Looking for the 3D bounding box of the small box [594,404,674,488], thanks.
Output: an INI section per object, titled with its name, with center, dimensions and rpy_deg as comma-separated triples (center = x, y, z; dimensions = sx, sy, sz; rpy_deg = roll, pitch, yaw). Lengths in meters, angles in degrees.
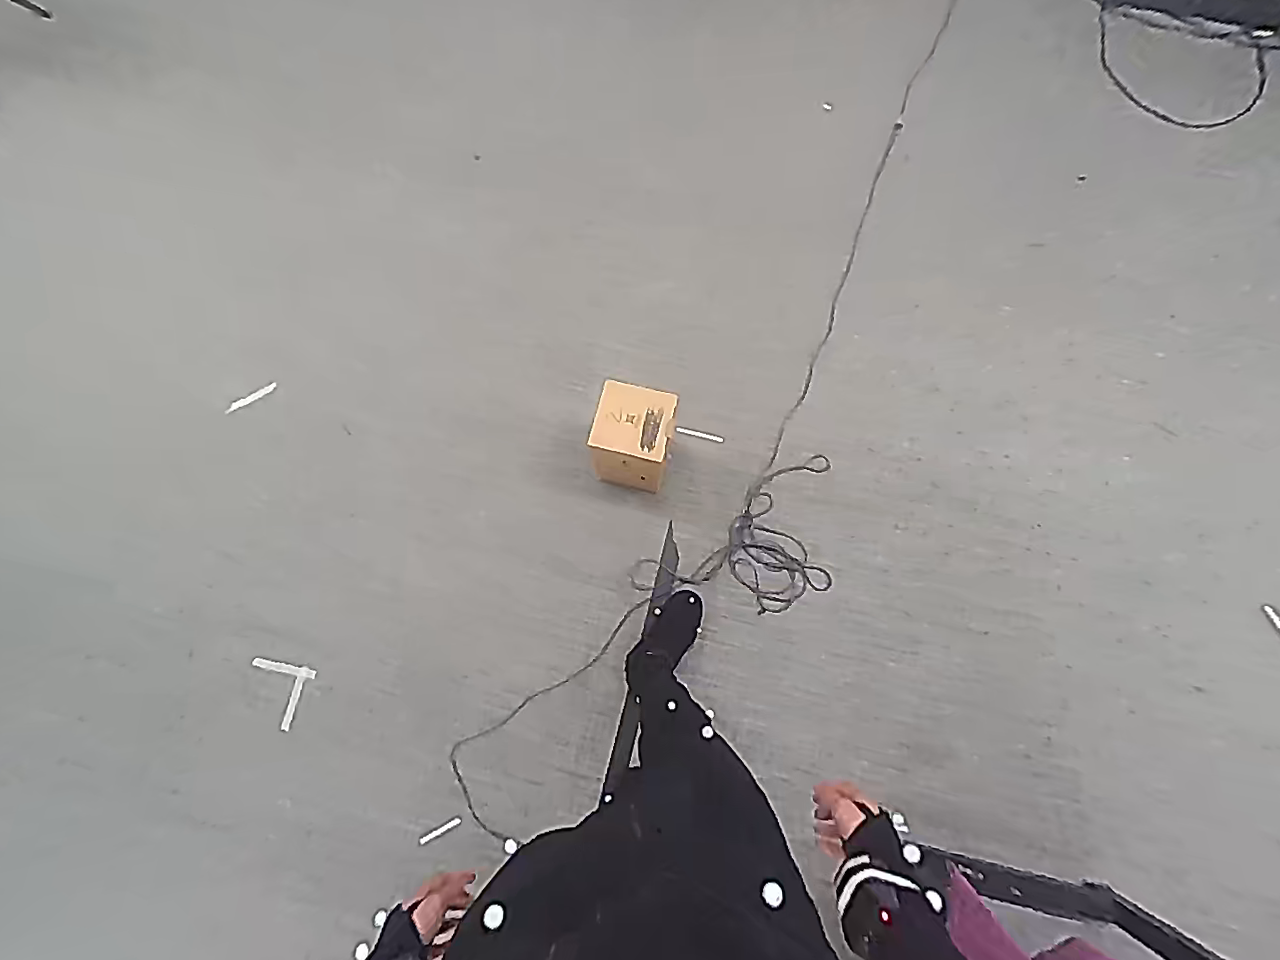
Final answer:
[small box]
center = -0.014, -0.084, 1.449
dimensions = 0.179, 0.176, 0.168
rpy_deg = 12, 78, 4
